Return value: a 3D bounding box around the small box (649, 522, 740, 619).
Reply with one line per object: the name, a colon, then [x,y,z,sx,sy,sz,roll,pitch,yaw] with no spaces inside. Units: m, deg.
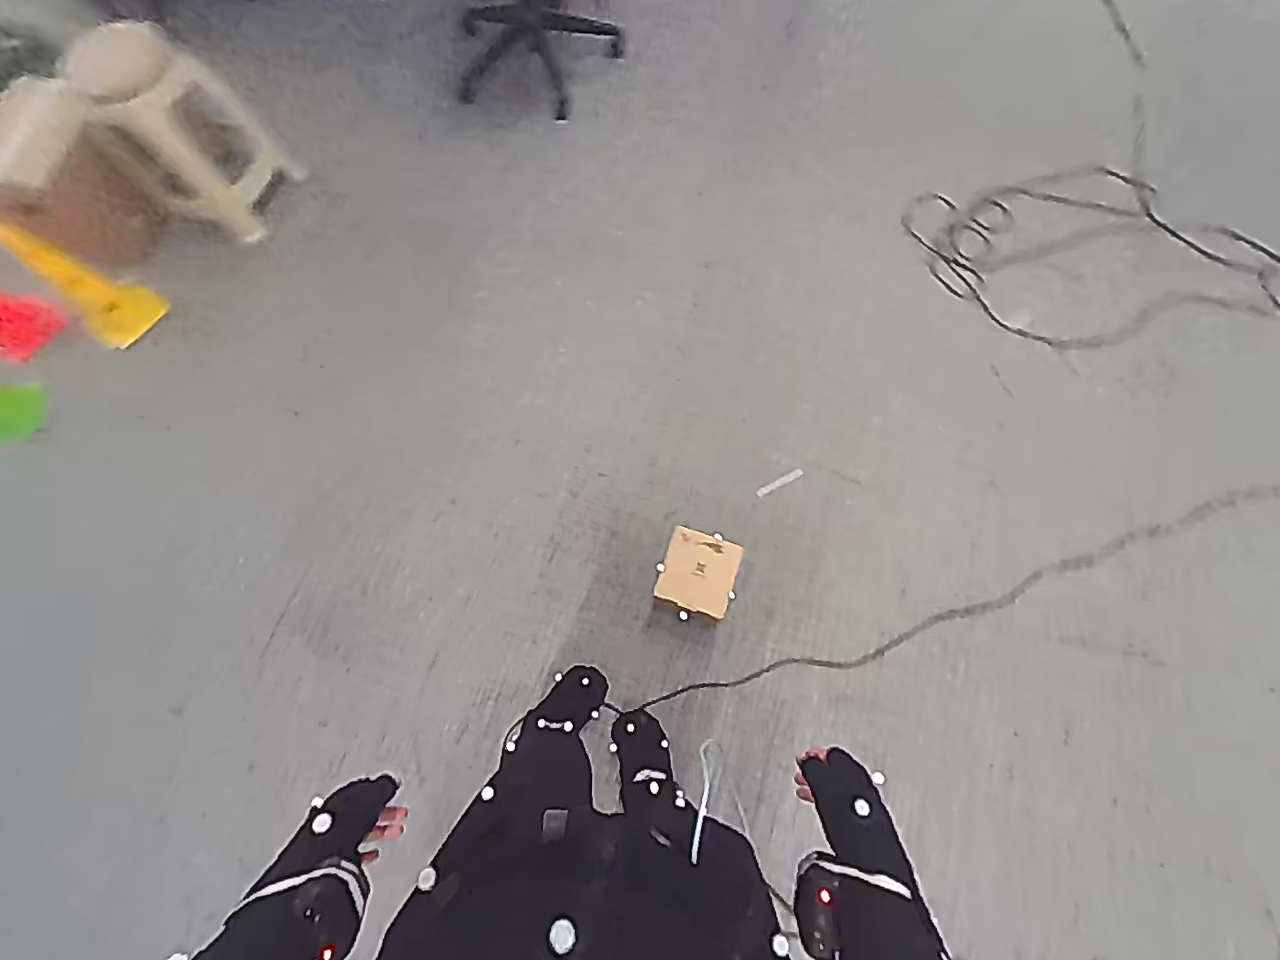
small box: [0.129,0.225,1.304,0.168,0.176,0.179,18,73,8]
